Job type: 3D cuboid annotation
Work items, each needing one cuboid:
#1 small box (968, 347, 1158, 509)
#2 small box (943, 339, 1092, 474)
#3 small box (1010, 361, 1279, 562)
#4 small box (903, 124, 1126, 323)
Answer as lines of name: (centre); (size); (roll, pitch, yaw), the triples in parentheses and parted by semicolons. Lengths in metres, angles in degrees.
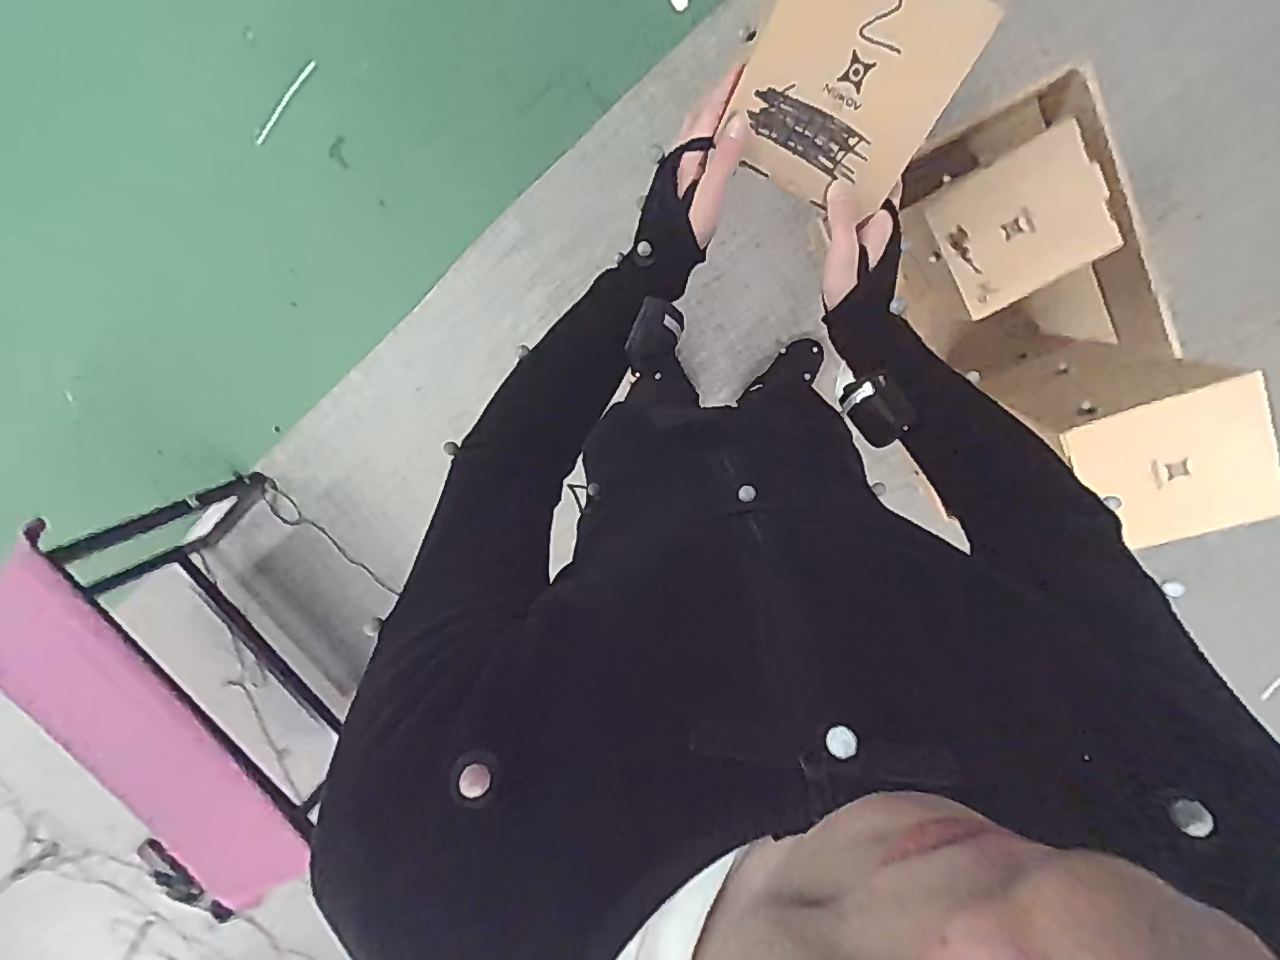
small box: (0.626, -0.084, 0.800); (0.179, 0.176, 0.168); (-21, 103, 20)
small box: (0.667, -0.135, 0.950); (0.179, 0.176, 0.168); (-20, 103, 20)
small box: (0.592, -0.030, 0.652); (0.179, 0.176, 0.168); (-21, 103, 20)
small box: (0.493, -0.336, 0.740); (0.179, 0.176, 0.168); (-27, 100, 21)
